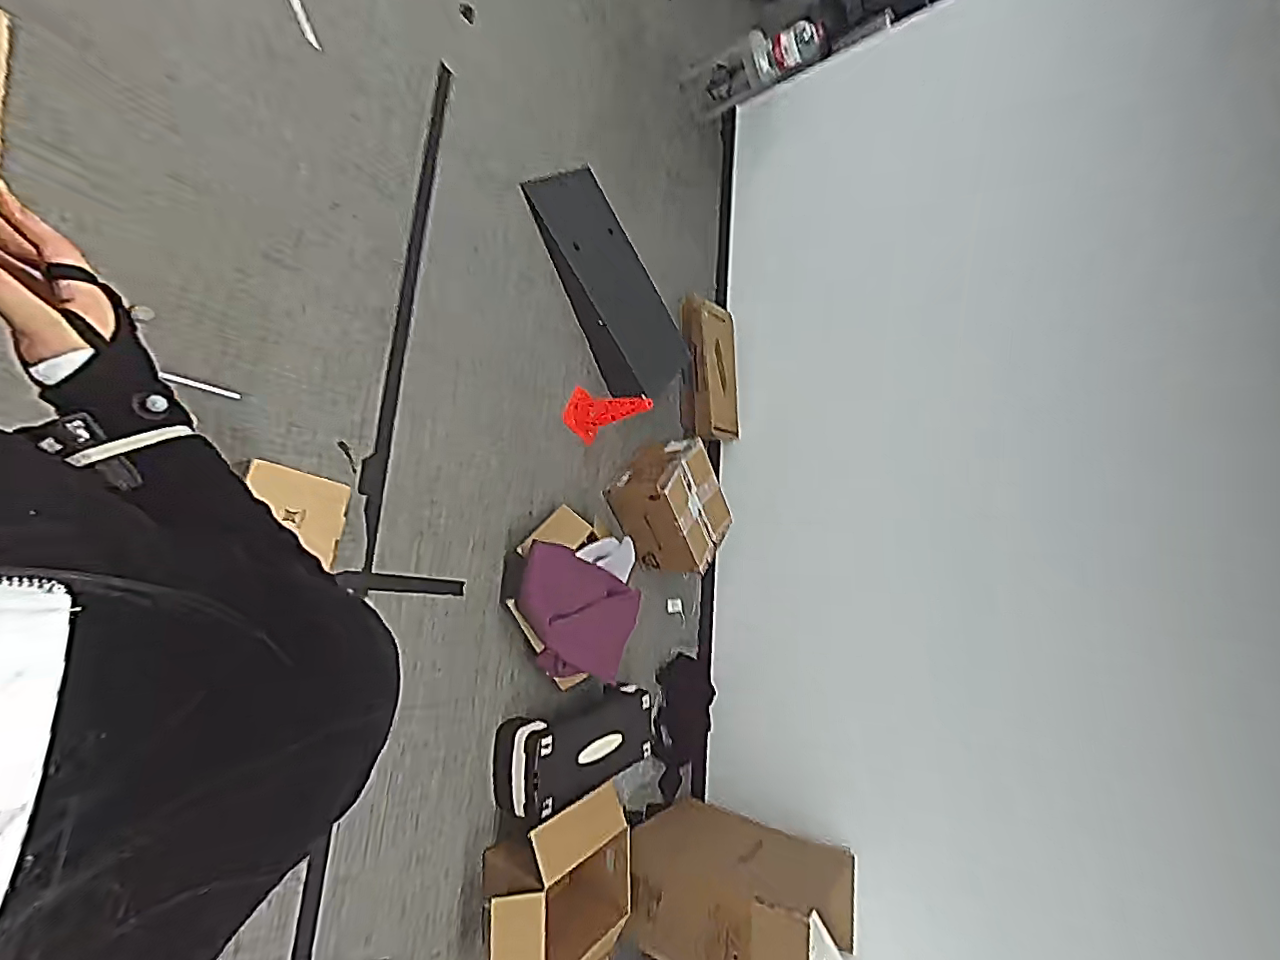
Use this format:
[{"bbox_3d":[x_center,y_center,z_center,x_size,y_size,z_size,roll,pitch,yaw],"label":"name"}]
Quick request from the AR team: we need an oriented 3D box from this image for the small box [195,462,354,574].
[{"bbox_3d":[-0.677,0.075,1.005,0.179,0.176,0.168,27,65,-48],"label":"small box"}]
